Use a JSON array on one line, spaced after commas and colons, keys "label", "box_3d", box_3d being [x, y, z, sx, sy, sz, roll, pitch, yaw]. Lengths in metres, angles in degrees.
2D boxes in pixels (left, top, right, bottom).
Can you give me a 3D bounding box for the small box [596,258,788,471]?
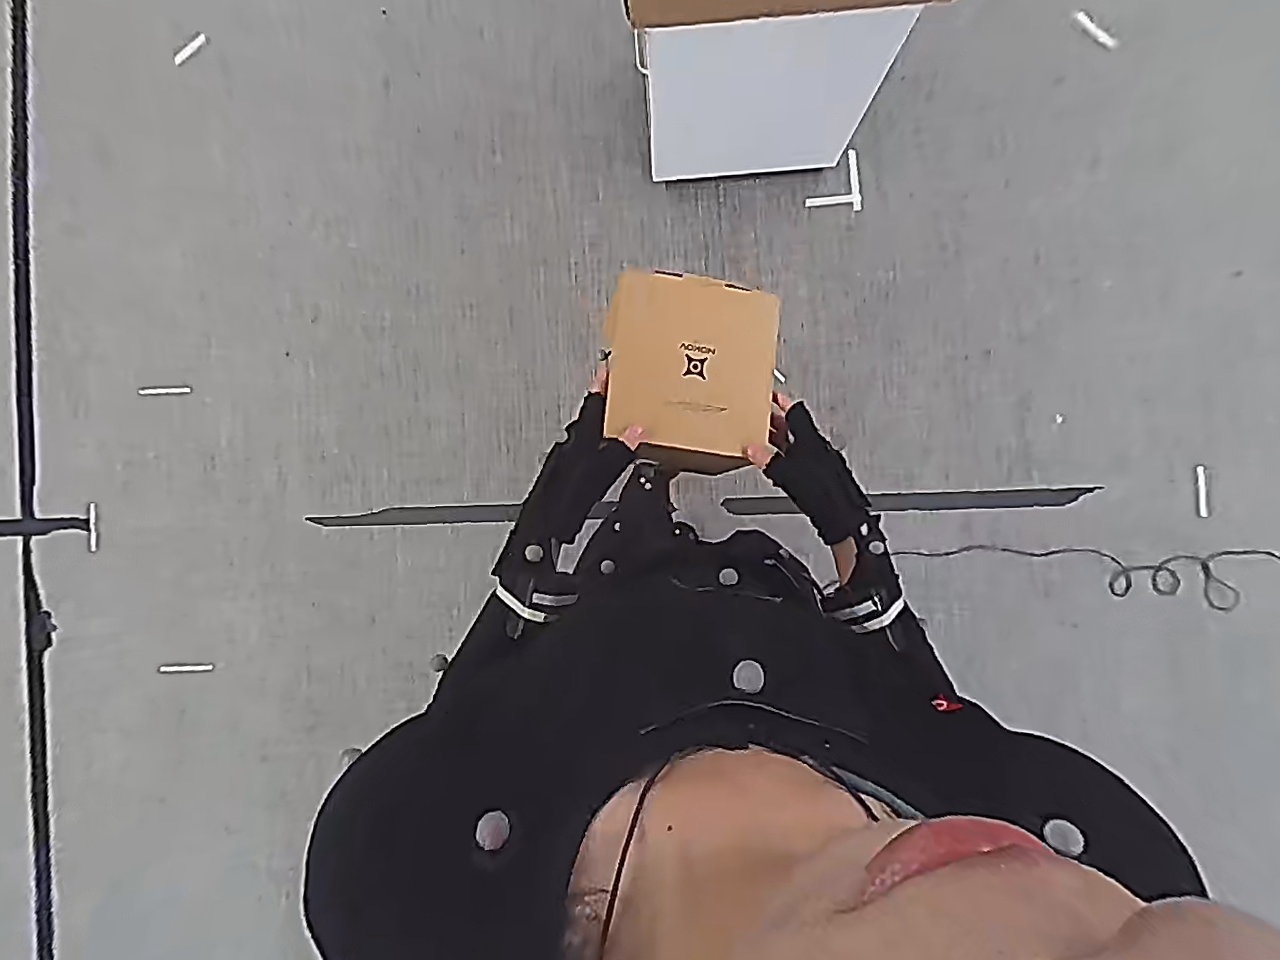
[{"label": "small box", "box_3d": [0.047, -0.113, 0.606, 0.168, 0.176, 0.179, 8, 84, -9]}]
